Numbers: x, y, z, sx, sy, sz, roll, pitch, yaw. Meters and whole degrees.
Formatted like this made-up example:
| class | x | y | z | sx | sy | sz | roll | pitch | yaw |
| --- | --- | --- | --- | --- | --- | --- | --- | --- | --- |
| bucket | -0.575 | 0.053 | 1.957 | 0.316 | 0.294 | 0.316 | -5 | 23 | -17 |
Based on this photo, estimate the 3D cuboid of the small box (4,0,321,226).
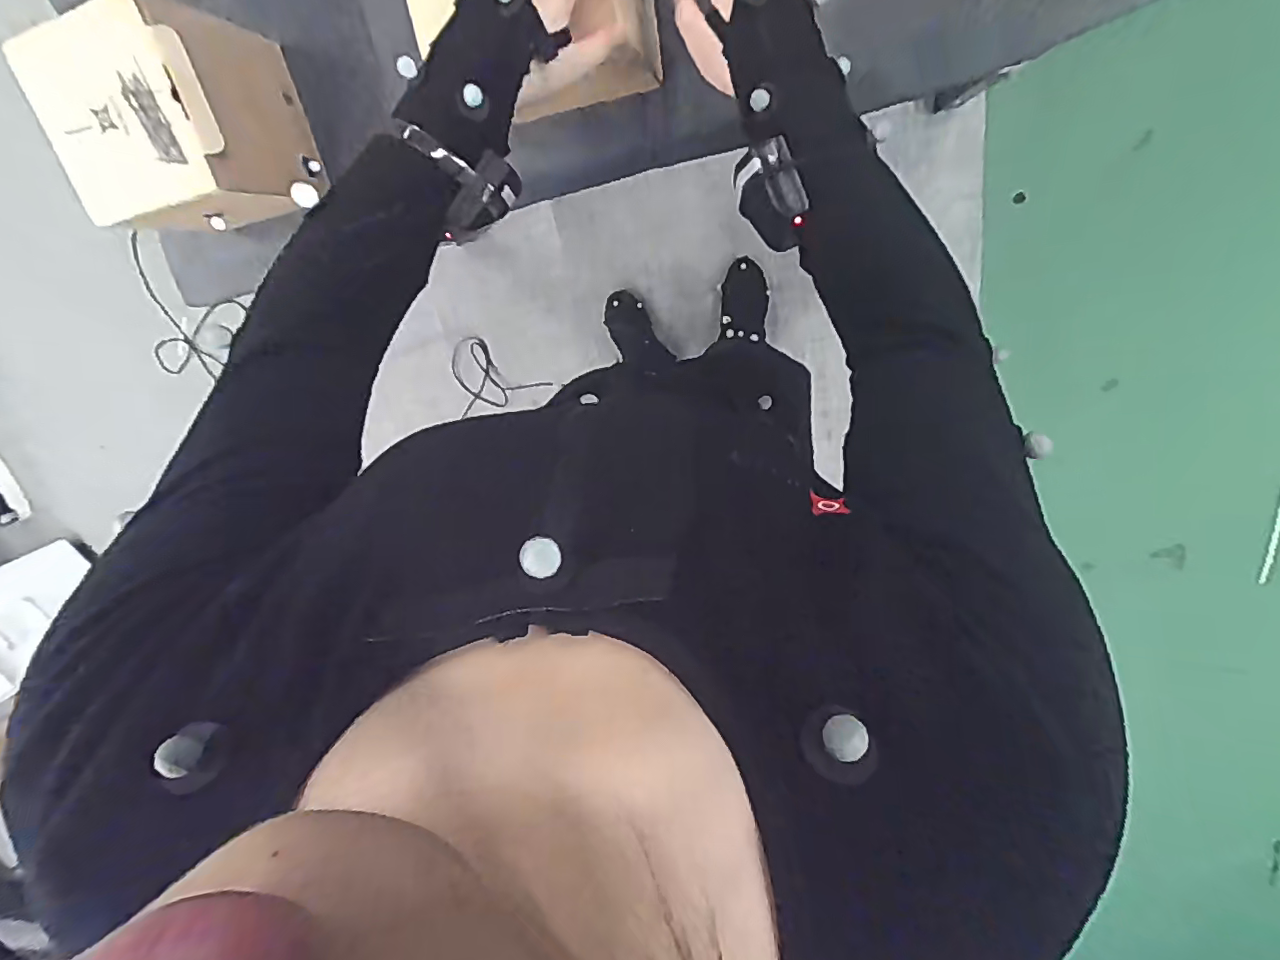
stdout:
| class | x | y | z | sx | sy | sz | roll | pitch | yaw |
| --- | --- | --- | --- | --- | --- | --- | --- | --- | --- |
| small box | -0.491 | -0.386 | 0.594 | 0.179 | 0.176 | 0.168 | -6 | 113 | 15 |

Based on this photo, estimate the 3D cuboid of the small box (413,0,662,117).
| class | x | y | z | sx | sy | sz | roll | pitch | yaw |
| --- | --- | --- | --- | --- | --- | --- | --- | --- | --- |
| small box | -0.088 | -0.448 | 0.481 | 0.179 | 0.176 | 0.168 | -4 | 113 | 14 |
